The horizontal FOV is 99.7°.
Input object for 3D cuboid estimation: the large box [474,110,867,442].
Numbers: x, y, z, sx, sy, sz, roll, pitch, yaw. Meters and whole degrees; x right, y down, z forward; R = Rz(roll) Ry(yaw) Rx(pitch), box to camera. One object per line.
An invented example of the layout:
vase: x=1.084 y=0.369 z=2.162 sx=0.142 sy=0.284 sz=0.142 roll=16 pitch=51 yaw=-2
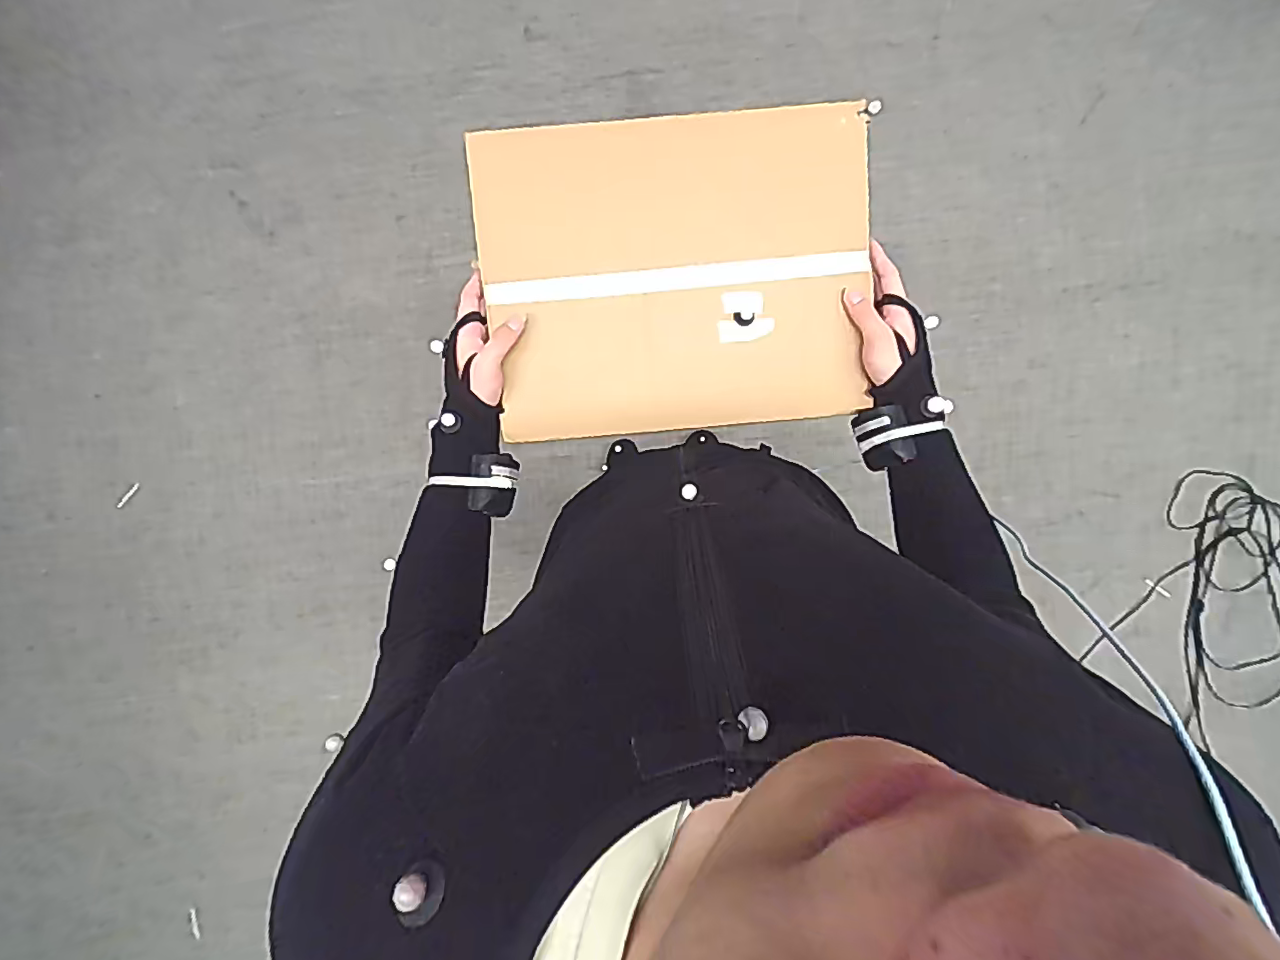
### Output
large box: x=0.034 y=-0.231 z=0.723 sx=0.408 sy=0.320 sz=0.320 roll=-5 pitch=98 yaw=-1
